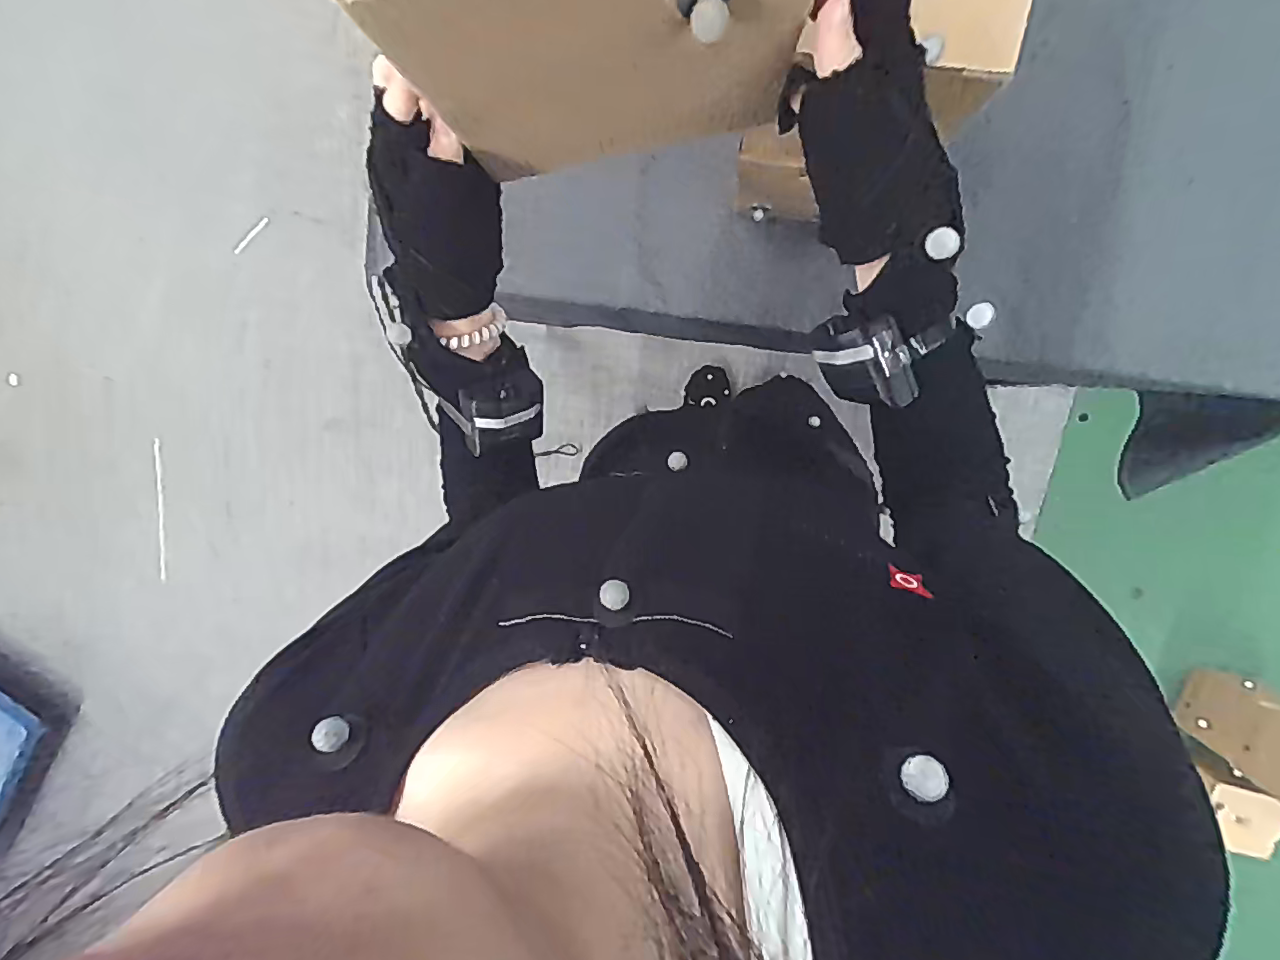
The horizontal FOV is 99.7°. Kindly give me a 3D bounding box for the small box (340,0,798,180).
[{"bbox_3d":[-0.026,-0.267,0.248,0.179,0.176,0.168,-9,98,6],"label":"small box"}]

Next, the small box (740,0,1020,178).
[{"bbox_3d":[0.175,-0.367,0.421,0.168,0.176,0.179,9,101,5],"label":"small box"}]

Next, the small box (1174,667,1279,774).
[{"bbox_3d":[1.483,0.583,1.319,0.179,0.176,0.168,14,101,5],"label":"small box"}]

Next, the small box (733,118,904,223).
[{"bbox_3d":[0.194,-0.395,0.580,0.168,0.176,0.179,9,100,6],"label":"small box"}]
